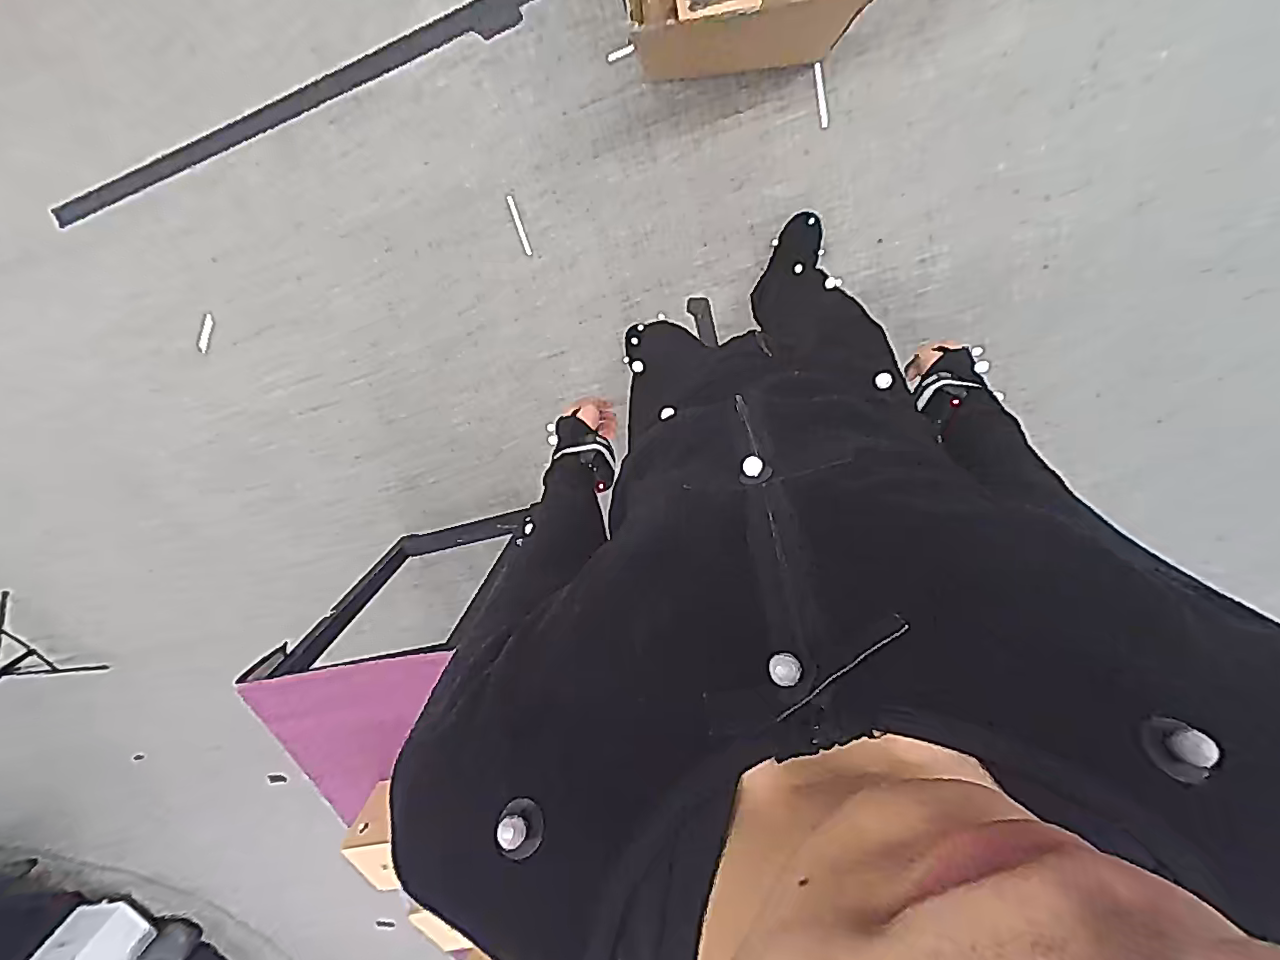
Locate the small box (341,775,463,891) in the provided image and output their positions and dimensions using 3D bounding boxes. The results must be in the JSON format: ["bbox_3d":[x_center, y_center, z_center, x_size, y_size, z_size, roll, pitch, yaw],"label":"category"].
[{"bbox_3d":[-0.567,0.852,1.312,0.179,0.176,0.168,-19,112,15],"label":"small box"}]

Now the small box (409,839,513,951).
[{"bbox_3d":[-0.452,1.073,1.406,0.179,0.176,0.168,-26,109,18],"label":"small box"}]
